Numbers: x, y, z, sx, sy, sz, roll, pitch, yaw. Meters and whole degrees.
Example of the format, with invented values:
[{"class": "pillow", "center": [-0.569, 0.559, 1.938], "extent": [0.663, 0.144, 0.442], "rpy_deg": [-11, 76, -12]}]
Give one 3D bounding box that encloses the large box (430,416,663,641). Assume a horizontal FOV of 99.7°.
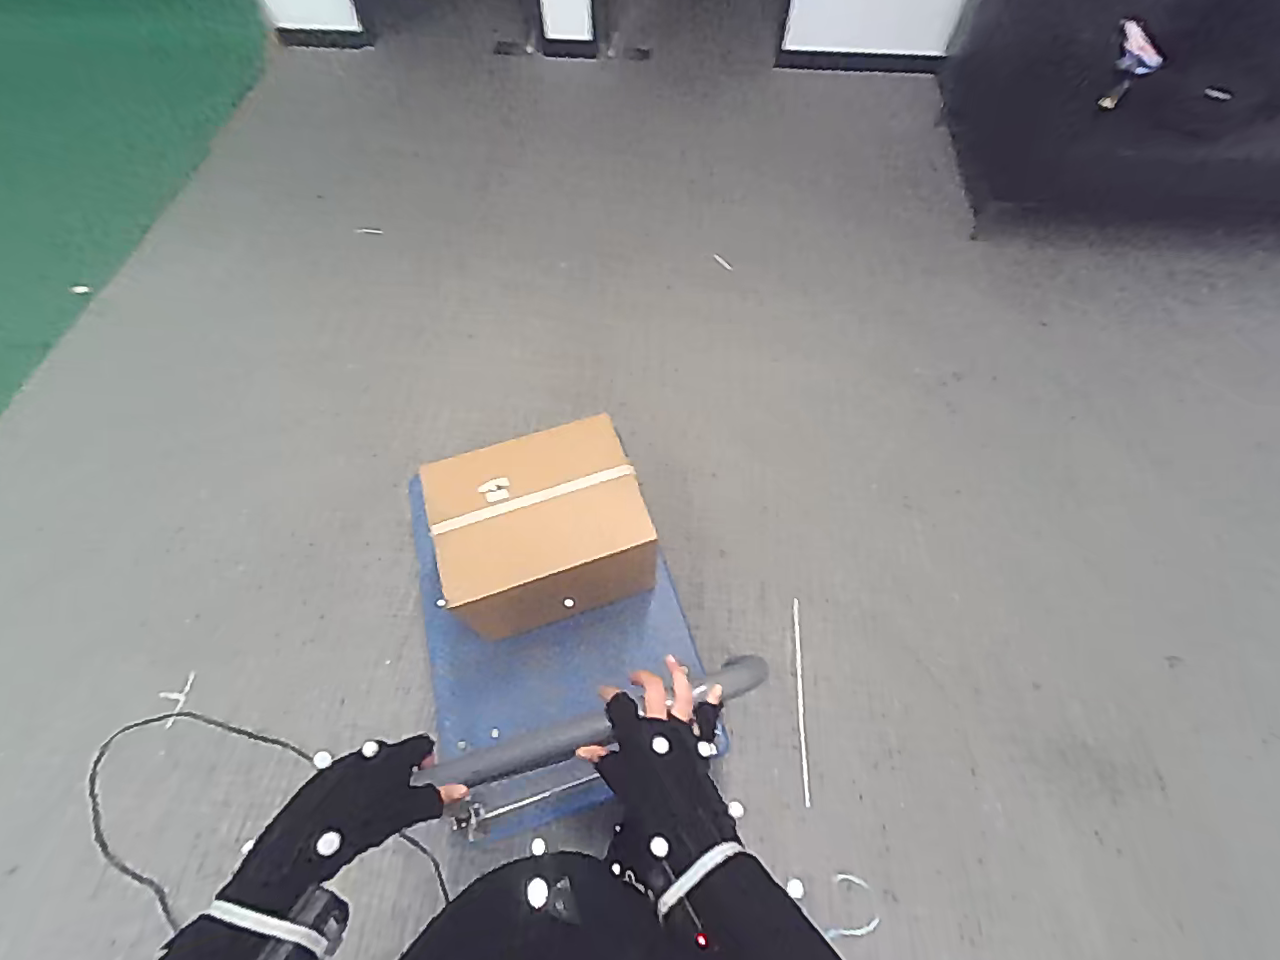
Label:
[{"class": "large box", "center": [-0.191, 0.116, 1.198], "extent": [0.408, 0.320, 0.320], "rpy_deg": [-18, 62, -9]}]
